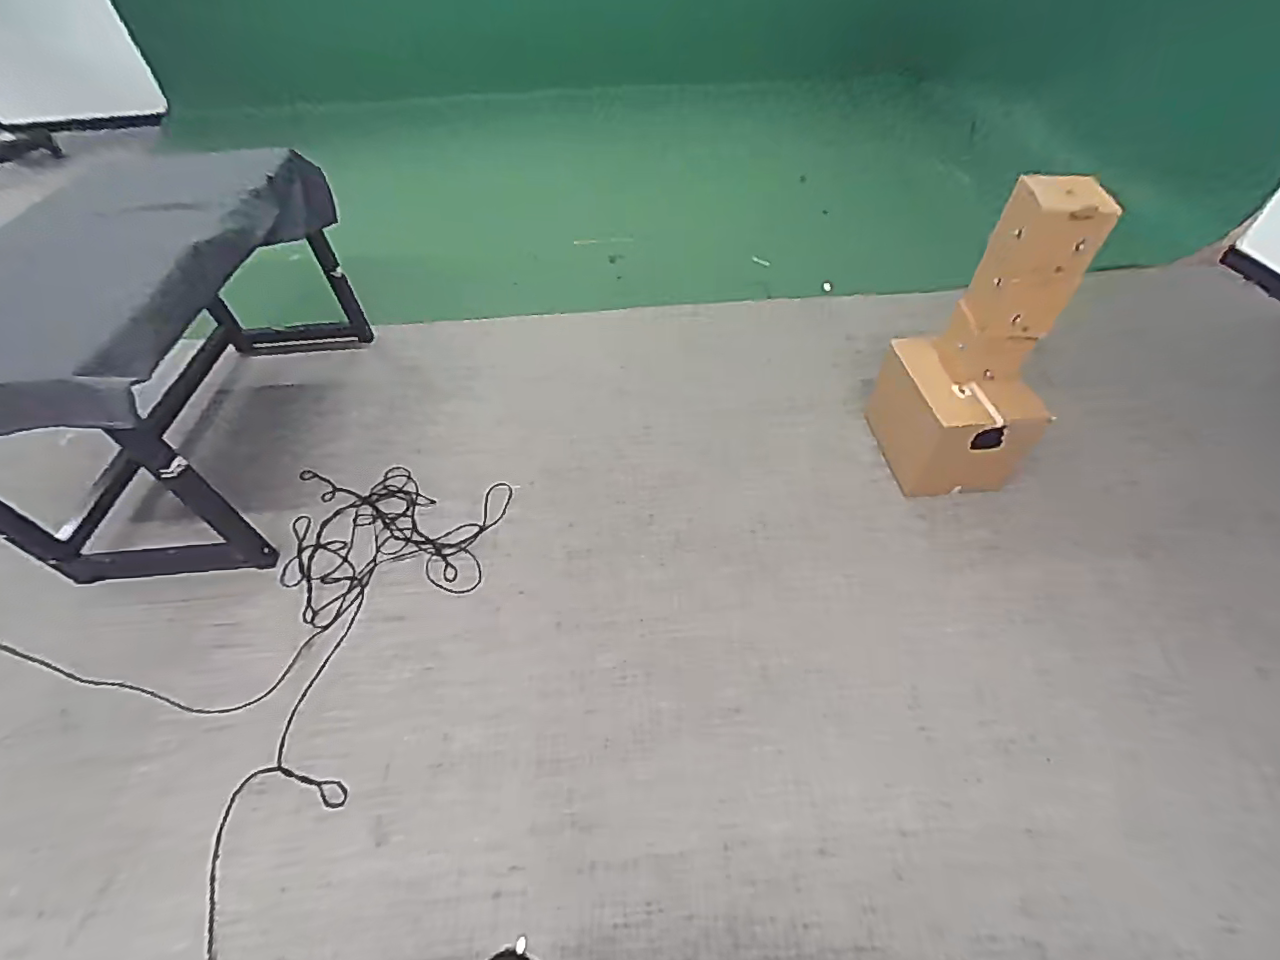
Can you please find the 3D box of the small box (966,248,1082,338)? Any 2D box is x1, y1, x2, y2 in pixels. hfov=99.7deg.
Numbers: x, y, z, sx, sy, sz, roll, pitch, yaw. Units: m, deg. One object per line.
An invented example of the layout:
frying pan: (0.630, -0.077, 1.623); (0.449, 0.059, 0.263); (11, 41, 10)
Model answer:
small box: (0.993, -0.496, 1.419); (0.168, 0.176, 0.179); (3, 51, 5)

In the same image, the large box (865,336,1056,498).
large box: (0.967, -0.199, 1.702); (0.320, 0.320, 0.408); (-6, 51, -1)

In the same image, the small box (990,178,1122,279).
small box: (0.981, -0.600, 1.295); (0.168, 0.176, 0.179); (4, 50, 4)
